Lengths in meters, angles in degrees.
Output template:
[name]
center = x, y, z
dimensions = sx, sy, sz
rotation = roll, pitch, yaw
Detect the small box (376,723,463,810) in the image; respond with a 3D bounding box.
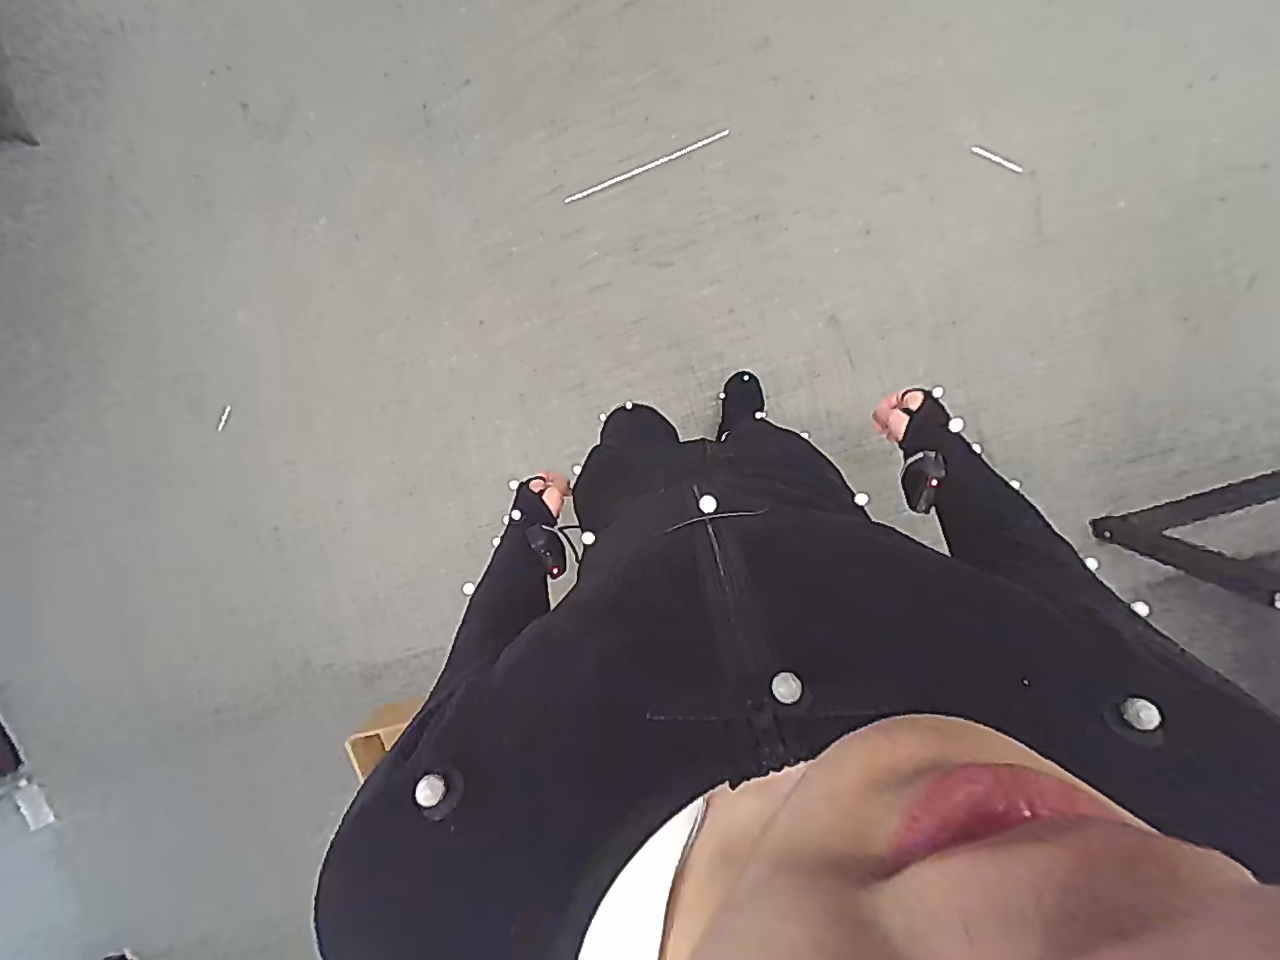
[small box]
center = -0.710, 0.928, 1.760
dimensions = 0.179, 0.176, 0.168
rotation = -18, 98, 8
